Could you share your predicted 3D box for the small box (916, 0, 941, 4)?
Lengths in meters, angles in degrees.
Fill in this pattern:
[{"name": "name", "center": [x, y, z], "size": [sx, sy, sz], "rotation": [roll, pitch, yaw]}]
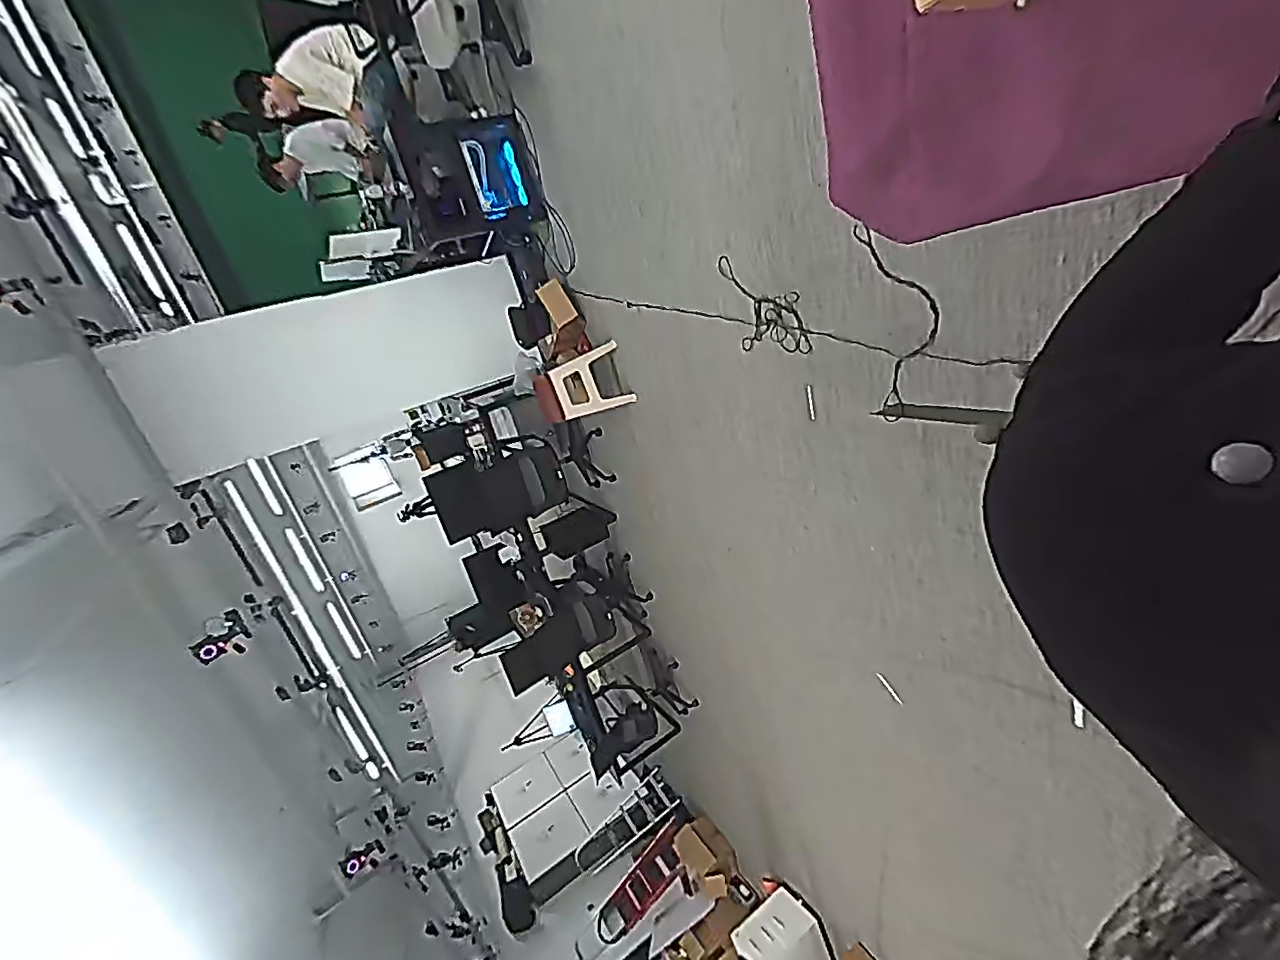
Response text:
[{"name": "small box", "center": [0.354, -0.561, 0.465], "size": [0.168, 0.176, 0.179], "rotation": [19, 130, 58]}]
